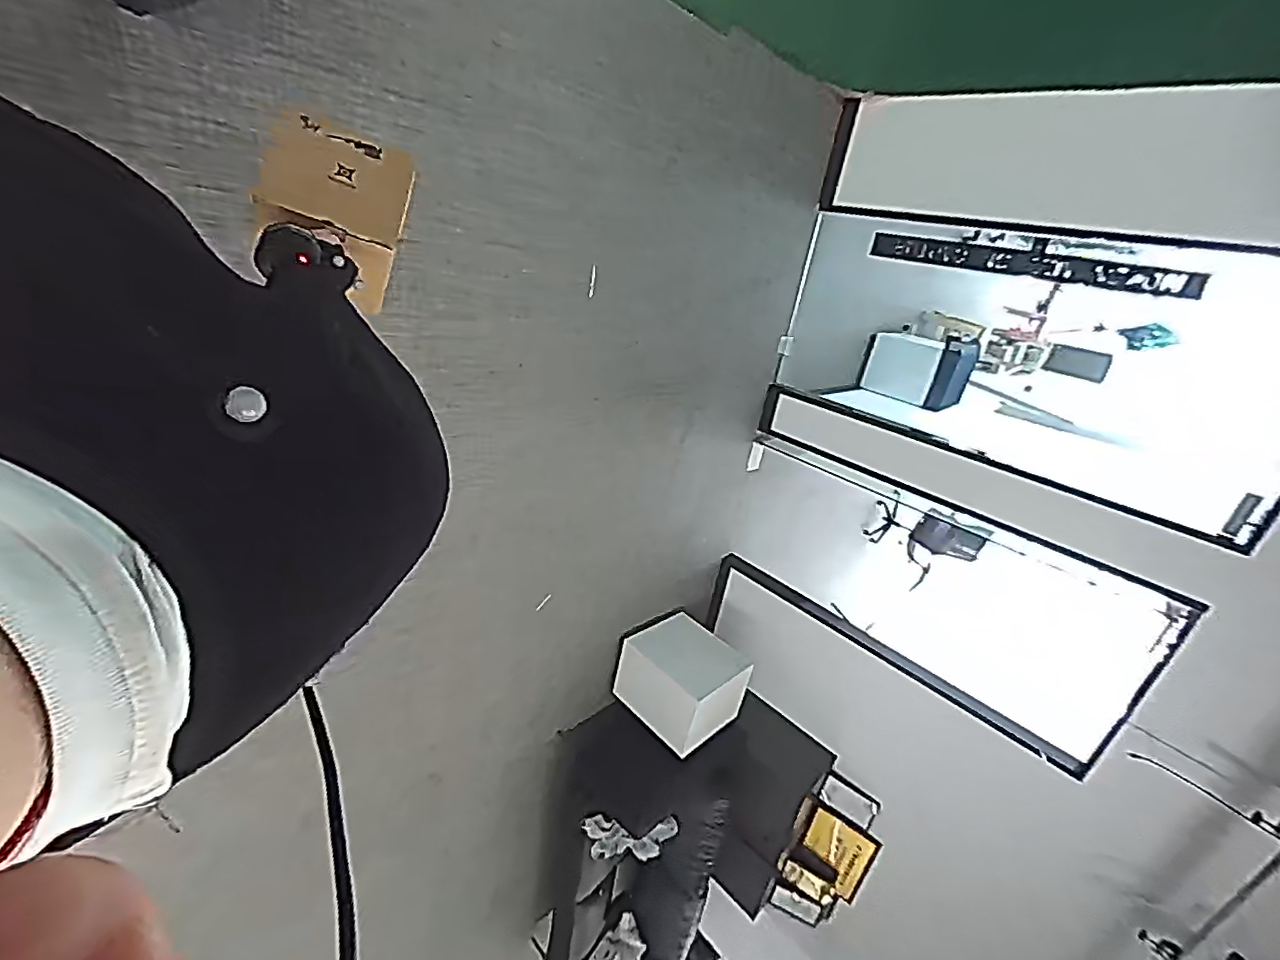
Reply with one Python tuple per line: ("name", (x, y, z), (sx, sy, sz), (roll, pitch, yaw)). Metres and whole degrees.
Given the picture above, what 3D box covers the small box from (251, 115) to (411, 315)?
("small box", (-0.453, -0.378, 0.806), (0.168, 0.176, 0.179), (12, 65, -28))
